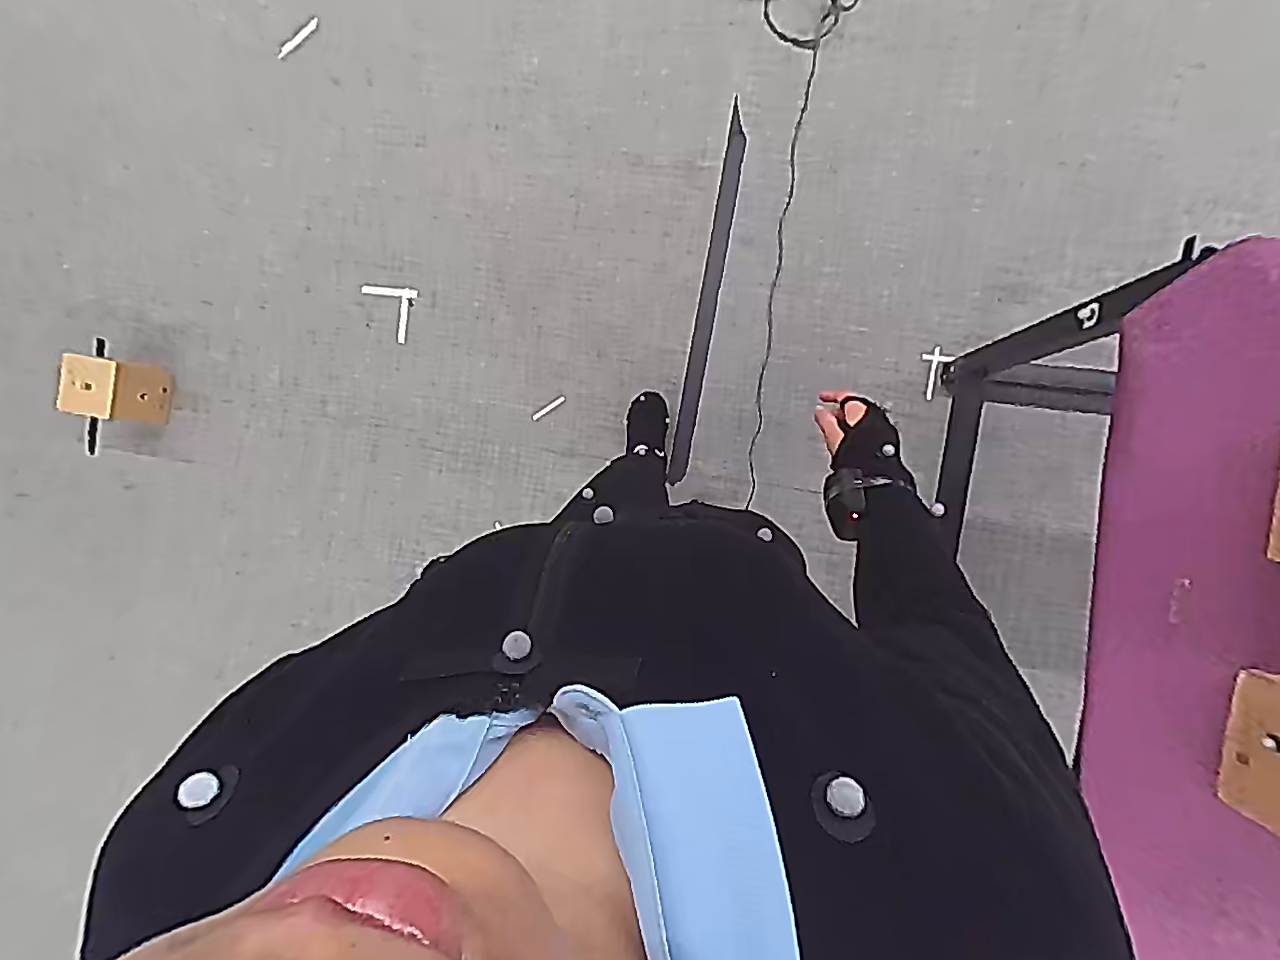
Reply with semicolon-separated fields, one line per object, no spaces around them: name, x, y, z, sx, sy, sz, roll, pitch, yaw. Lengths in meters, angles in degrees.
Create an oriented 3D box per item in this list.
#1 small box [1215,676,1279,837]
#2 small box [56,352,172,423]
small box;0.808;0.332;0.586;0.179;0.176;0.168;8;93;7
small box;-1.537;-0.265;1.589;0.179;0.176;0.168;12;93;7
